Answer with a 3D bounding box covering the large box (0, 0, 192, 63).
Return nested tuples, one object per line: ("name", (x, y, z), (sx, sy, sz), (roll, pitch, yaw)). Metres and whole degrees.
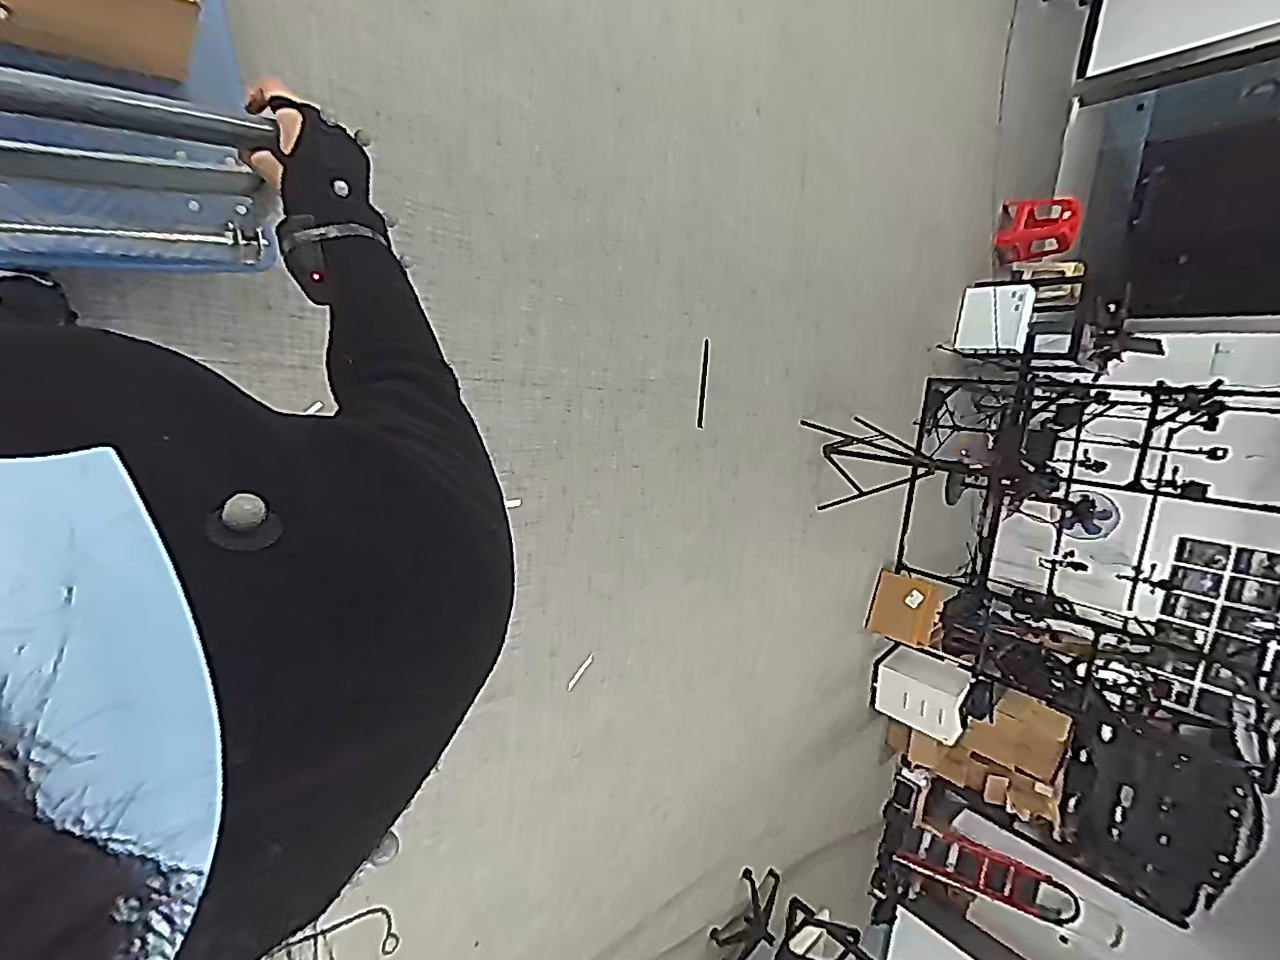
("large box", (-0.849, -0.791, 0.665), (0.408, 0.320, 0.320), (-15, 110, -40))
